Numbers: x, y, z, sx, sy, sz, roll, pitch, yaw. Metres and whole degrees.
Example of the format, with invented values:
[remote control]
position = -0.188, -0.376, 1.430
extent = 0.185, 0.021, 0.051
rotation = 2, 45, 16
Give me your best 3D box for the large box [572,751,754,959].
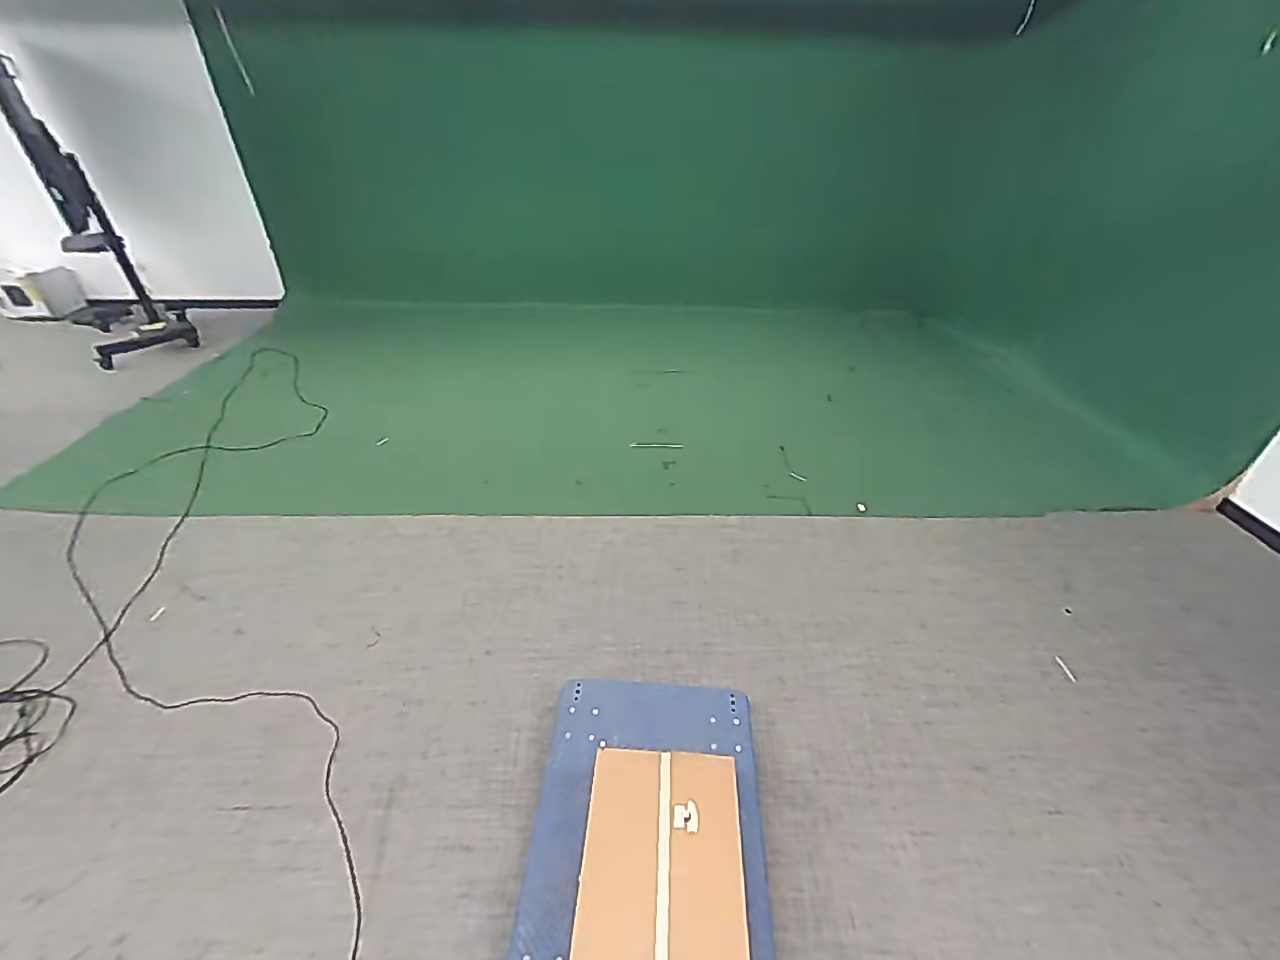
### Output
[large box]
position = 0.046, 0.853, 1.132
extent = 0.320, 0.320, 0.408
rotation = 4, 34, 2
